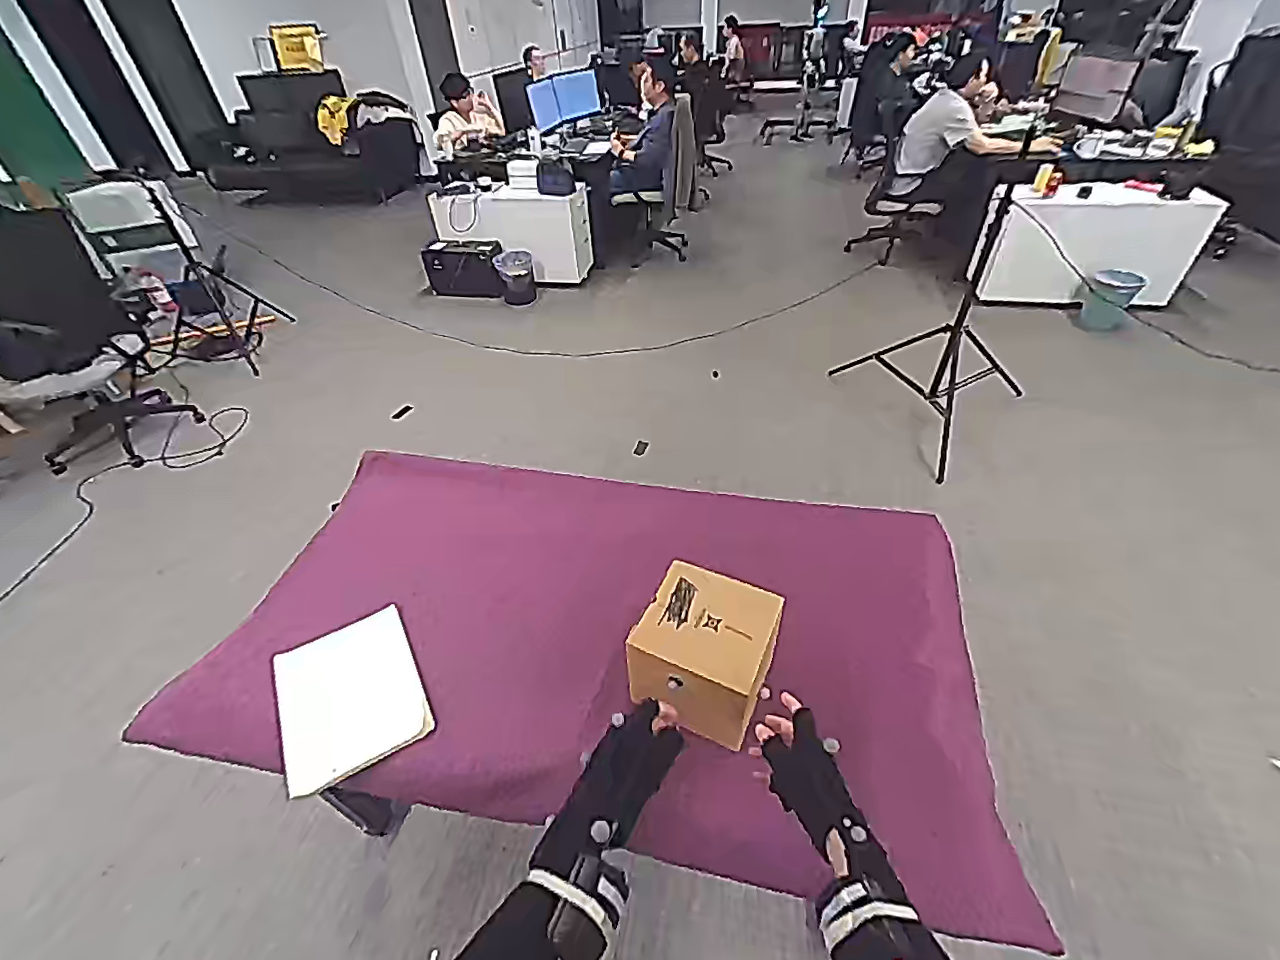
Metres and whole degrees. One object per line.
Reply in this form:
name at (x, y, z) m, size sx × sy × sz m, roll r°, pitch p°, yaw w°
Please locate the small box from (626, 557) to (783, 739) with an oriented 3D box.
small box at (0.095, 0.249, 0.803) m, size 0.179 × 0.176 × 0.168 m, roll 17°, pitch 45°, yaw 22°
